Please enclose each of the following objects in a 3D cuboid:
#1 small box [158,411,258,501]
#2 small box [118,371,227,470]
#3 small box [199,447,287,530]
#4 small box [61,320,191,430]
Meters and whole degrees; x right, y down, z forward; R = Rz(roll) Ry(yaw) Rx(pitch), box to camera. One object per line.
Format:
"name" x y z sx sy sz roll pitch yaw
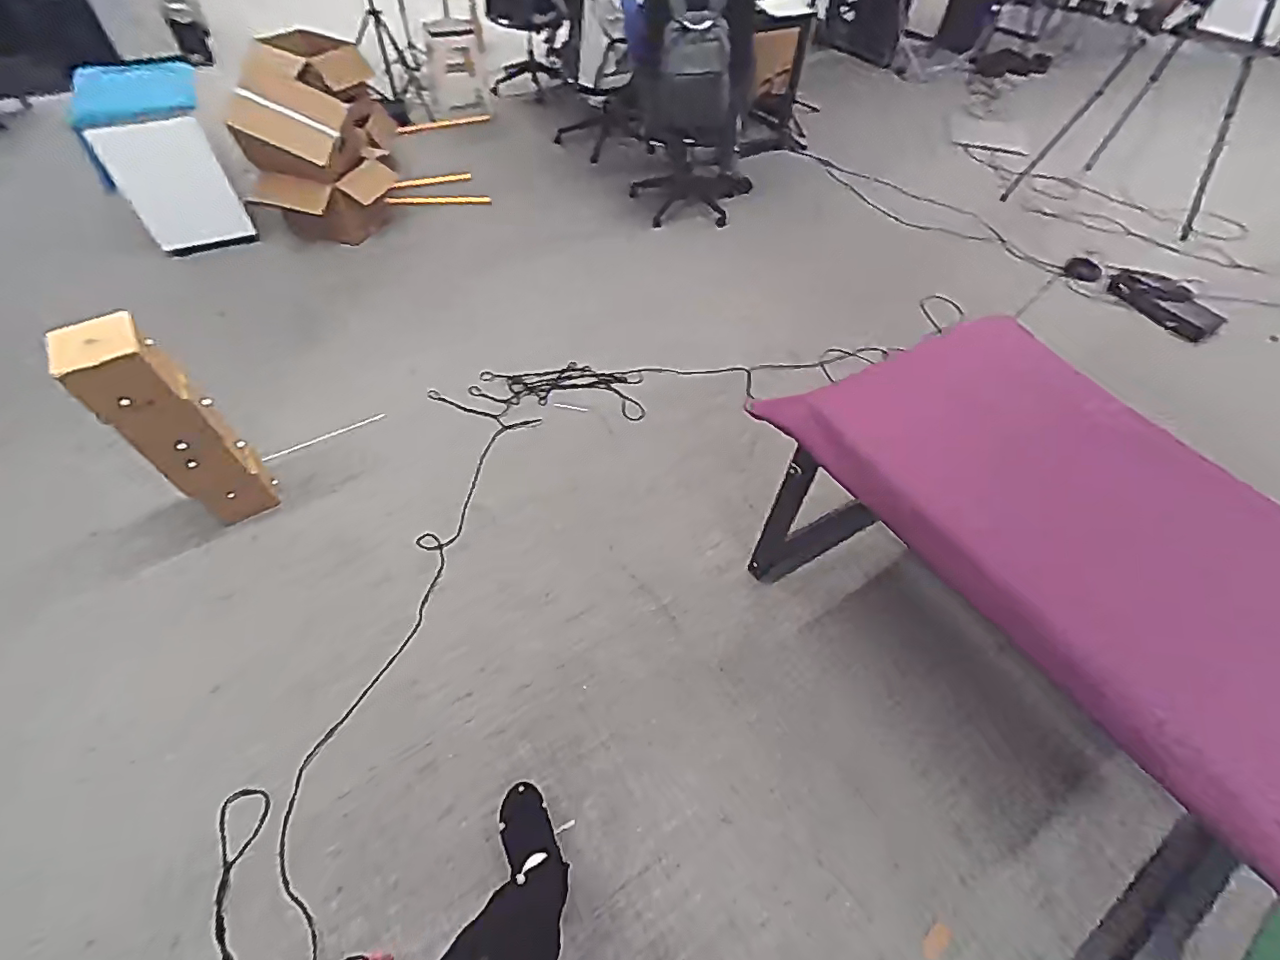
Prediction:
"small box" -1.278 -0.066 1.596 0.179 0.176 0.168 -26 58 -21
"small box" -1.260 -0.159 1.462 0.179 0.176 0.168 -28 58 -23
"small box" -1.274 0.031 1.728 0.179 0.176 0.168 -26 57 -22
"small box" -1.258 -0.256 1.330 0.168 0.176 0.179 -29 60 -22
